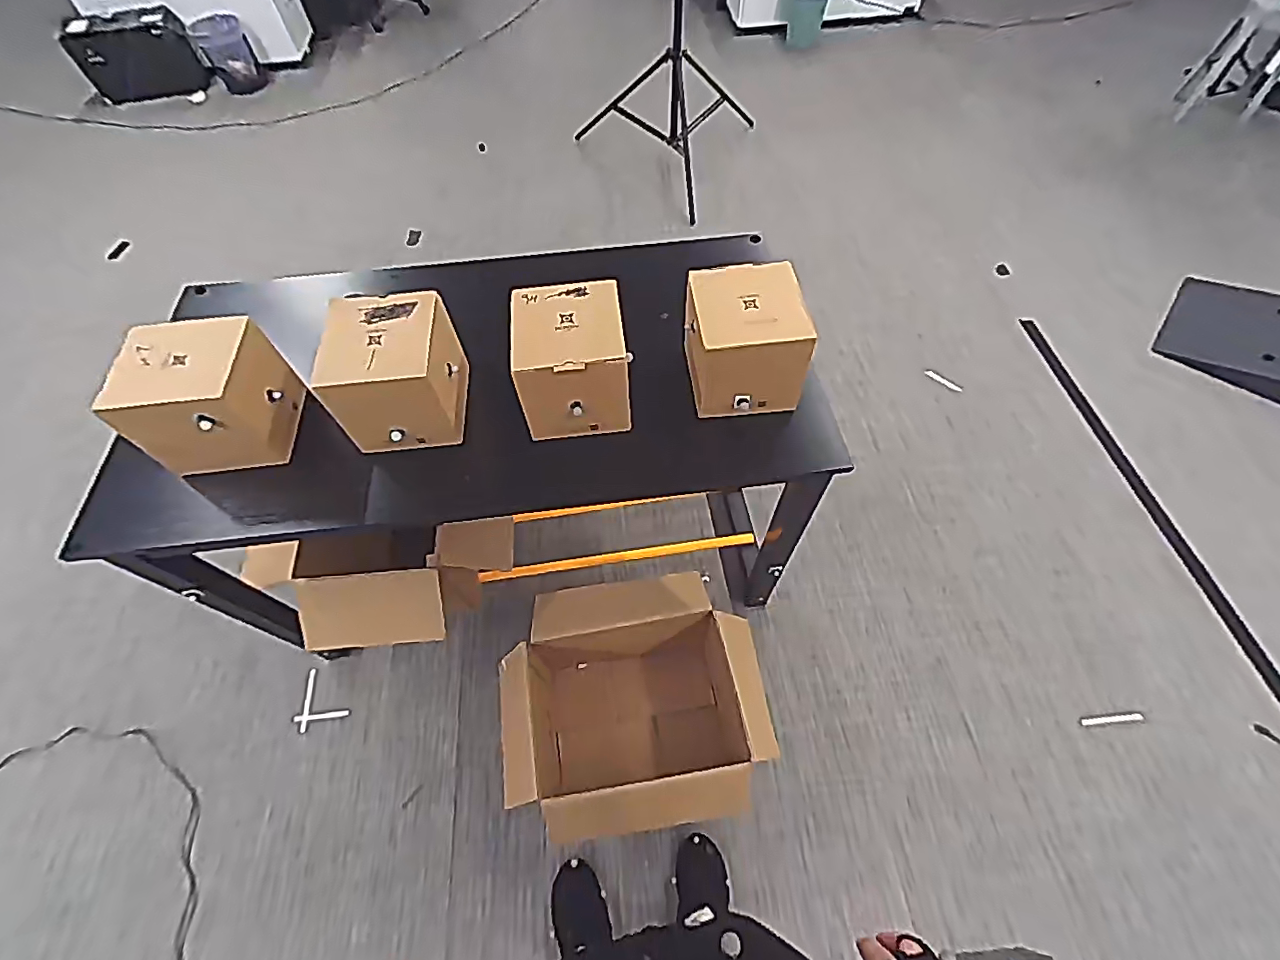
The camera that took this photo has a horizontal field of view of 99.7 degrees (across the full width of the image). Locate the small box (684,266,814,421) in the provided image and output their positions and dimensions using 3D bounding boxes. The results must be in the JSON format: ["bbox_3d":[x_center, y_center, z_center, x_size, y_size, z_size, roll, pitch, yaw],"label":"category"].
[{"bbox_3d":[0.165,-0.220,0.887,0.168,0.176,0.179,-7,59,-1],"label":"small box"}]

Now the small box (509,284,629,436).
[{"bbox_3d":[-0.110,-0.185,0.873,0.168,0.176,0.179,-6,59,-2],"label":"small box"}]

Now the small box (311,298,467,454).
[{"bbox_3d":[-0.385,-0.163,0.866,0.168,0.176,0.179,-6,59,-2],"label":"small box"}]

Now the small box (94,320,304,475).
[{"bbox_3d":[-0.667,-0.125,0.848,0.179,0.176,0.168,-7,58,-3],"label":"small box"}]
